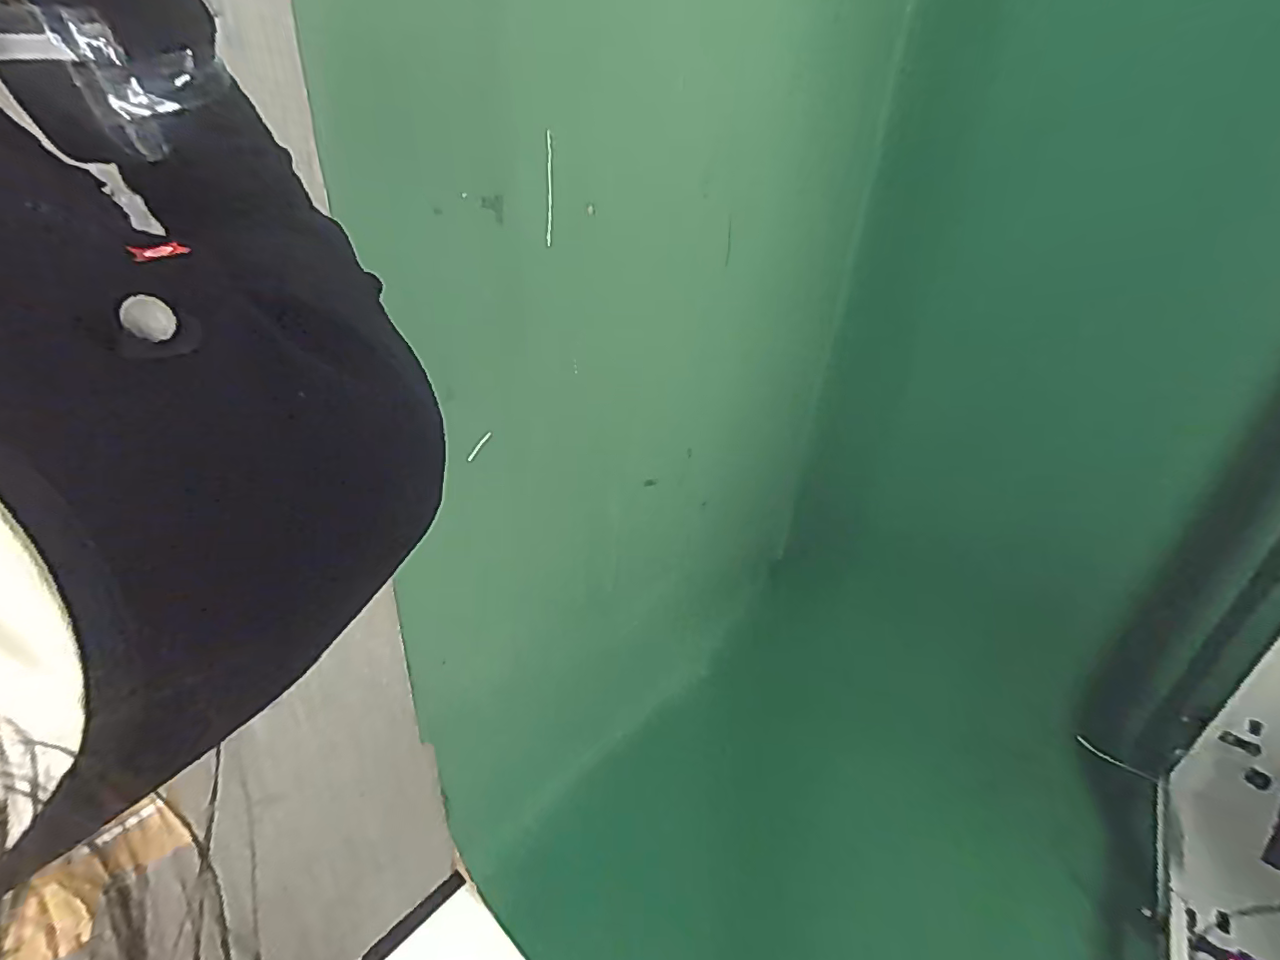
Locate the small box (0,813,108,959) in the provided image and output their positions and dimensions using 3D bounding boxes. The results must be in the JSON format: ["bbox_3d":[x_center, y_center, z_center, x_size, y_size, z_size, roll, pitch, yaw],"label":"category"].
[{"bbox_3d":[-1.064,0.718,0.914,0.179,0.176,0.168,-28,129,-41],"label":"small box"}]
